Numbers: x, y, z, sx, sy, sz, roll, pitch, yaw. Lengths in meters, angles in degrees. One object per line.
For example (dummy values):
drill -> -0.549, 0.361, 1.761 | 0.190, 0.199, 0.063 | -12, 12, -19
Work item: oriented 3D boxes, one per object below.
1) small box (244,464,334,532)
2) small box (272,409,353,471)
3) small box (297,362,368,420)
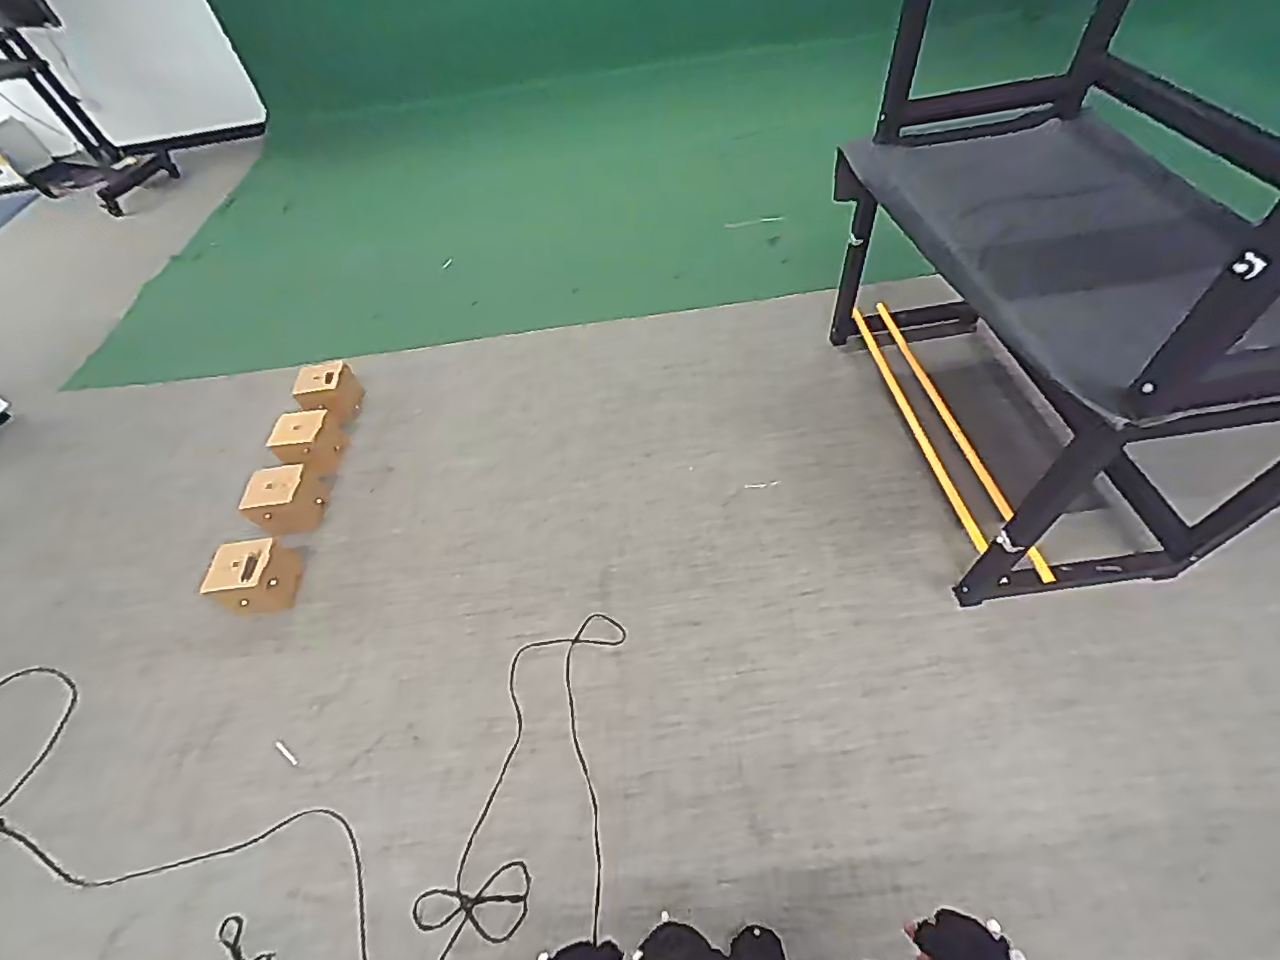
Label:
small box -> -1.199, 0.067, 1.859 | 0.179, 0.176, 0.168 | -7, 53, 1
small box -> -1.219, -0.142, 2.027 | 0.179, 0.176, 0.168 | -6, 52, 3
small box -> -1.239, -0.353, 2.193 | 0.179, 0.176, 0.168 | -9, 52, 1
